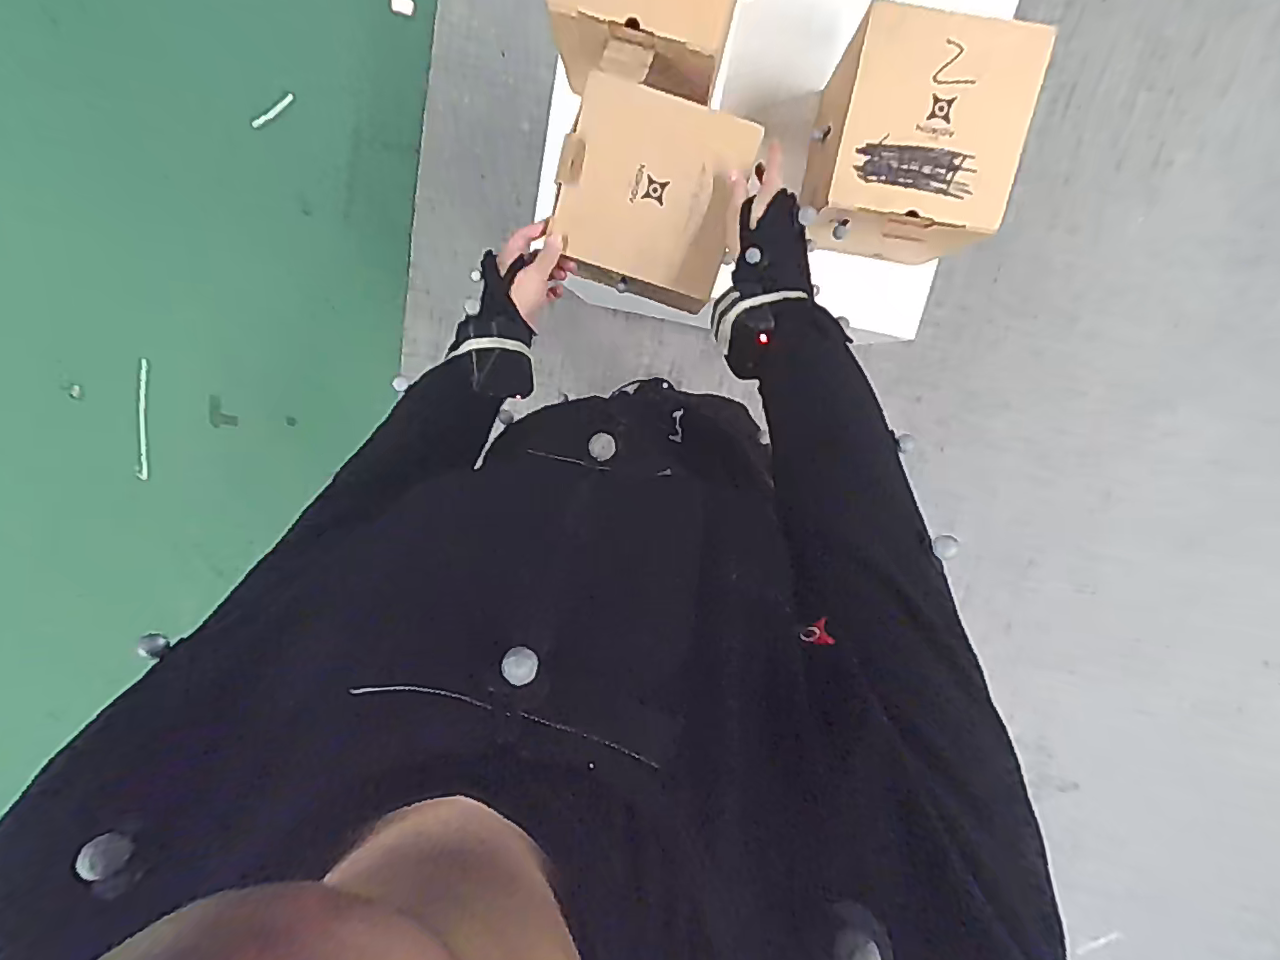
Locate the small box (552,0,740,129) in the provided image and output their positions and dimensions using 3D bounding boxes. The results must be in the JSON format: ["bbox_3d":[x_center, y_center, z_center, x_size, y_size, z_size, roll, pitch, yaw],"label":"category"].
[{"bbox_3d":[0.019,-0.504,0.553,0.168,0.176,0.179,14,103,-2],"label":"small box"}]
